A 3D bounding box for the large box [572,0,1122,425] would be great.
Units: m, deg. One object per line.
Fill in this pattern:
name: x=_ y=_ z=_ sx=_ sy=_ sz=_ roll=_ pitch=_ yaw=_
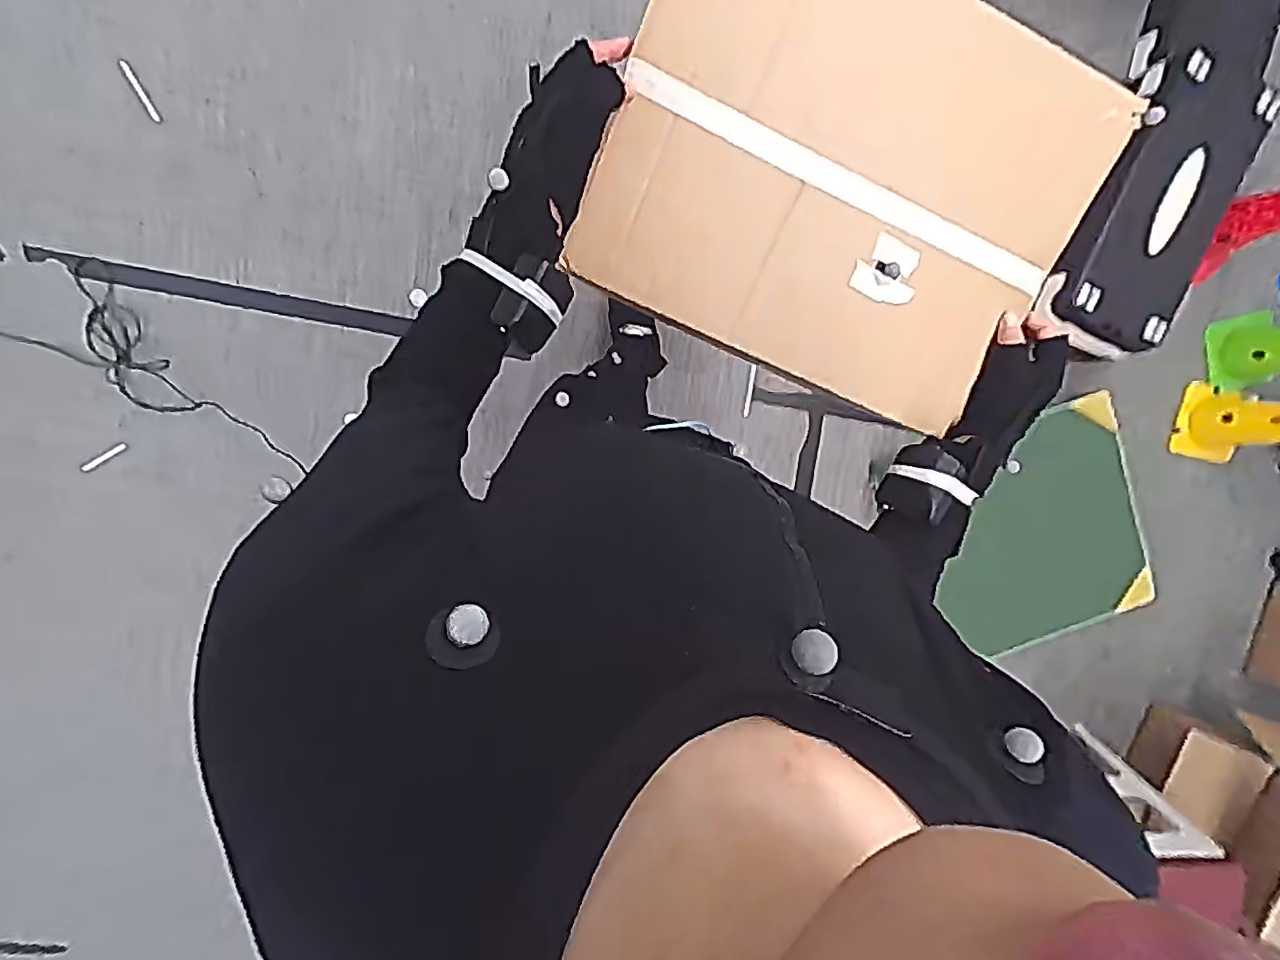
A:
large box: x=0.168 y=-0.301 z=0.614 sx=0.408 sy=0.320 sz=0.320 roll=22 pitch=106 yaw=-10
